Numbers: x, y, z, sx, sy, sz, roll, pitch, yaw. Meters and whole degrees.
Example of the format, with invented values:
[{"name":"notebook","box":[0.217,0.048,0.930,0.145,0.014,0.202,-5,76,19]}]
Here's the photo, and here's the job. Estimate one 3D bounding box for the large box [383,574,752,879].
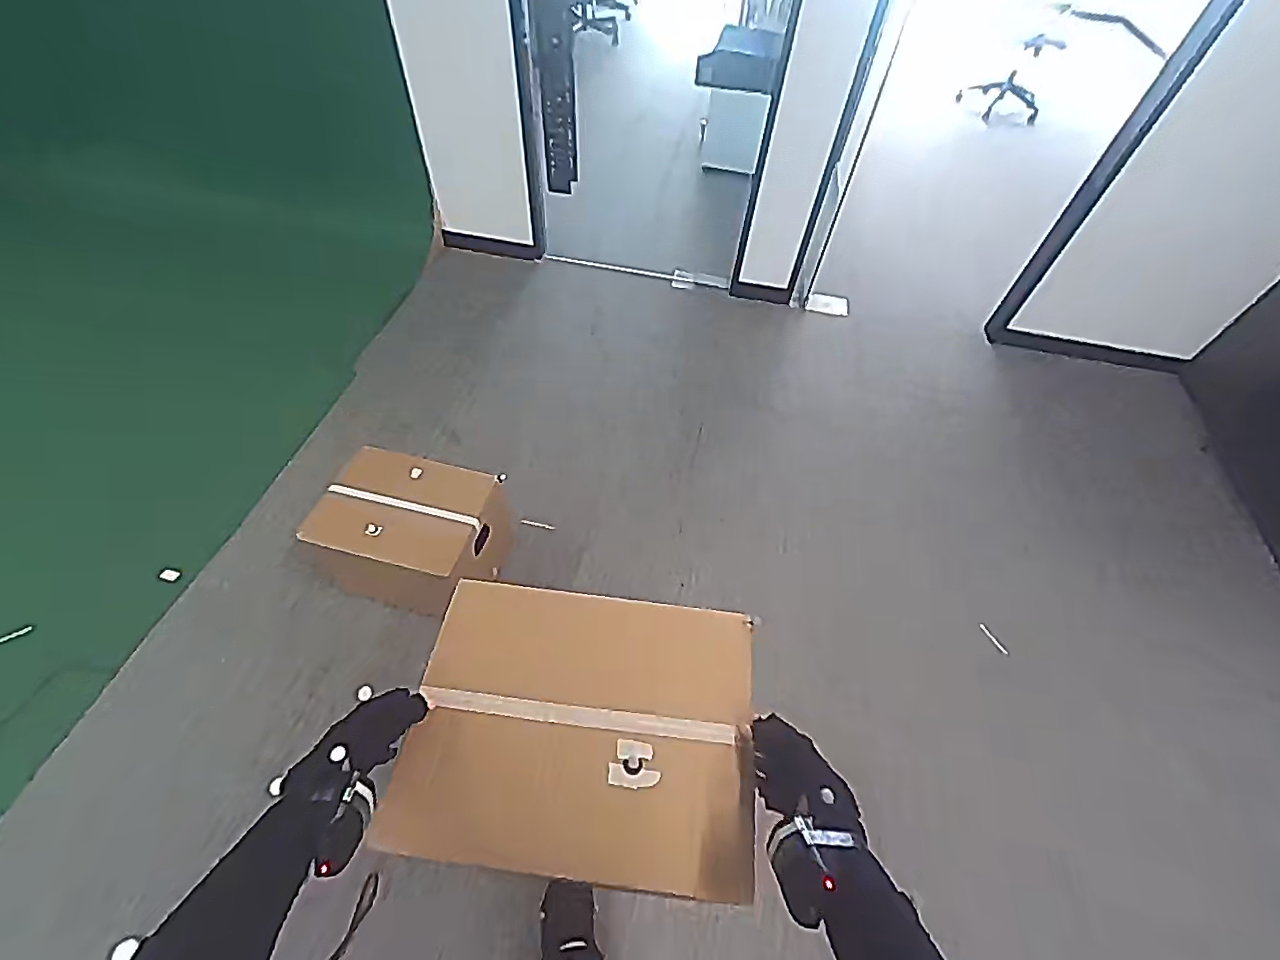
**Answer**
[{"name":"large box","box":[-0.074,0.362,0.779,0.408,0.320,0.320,7,54,1]}]
